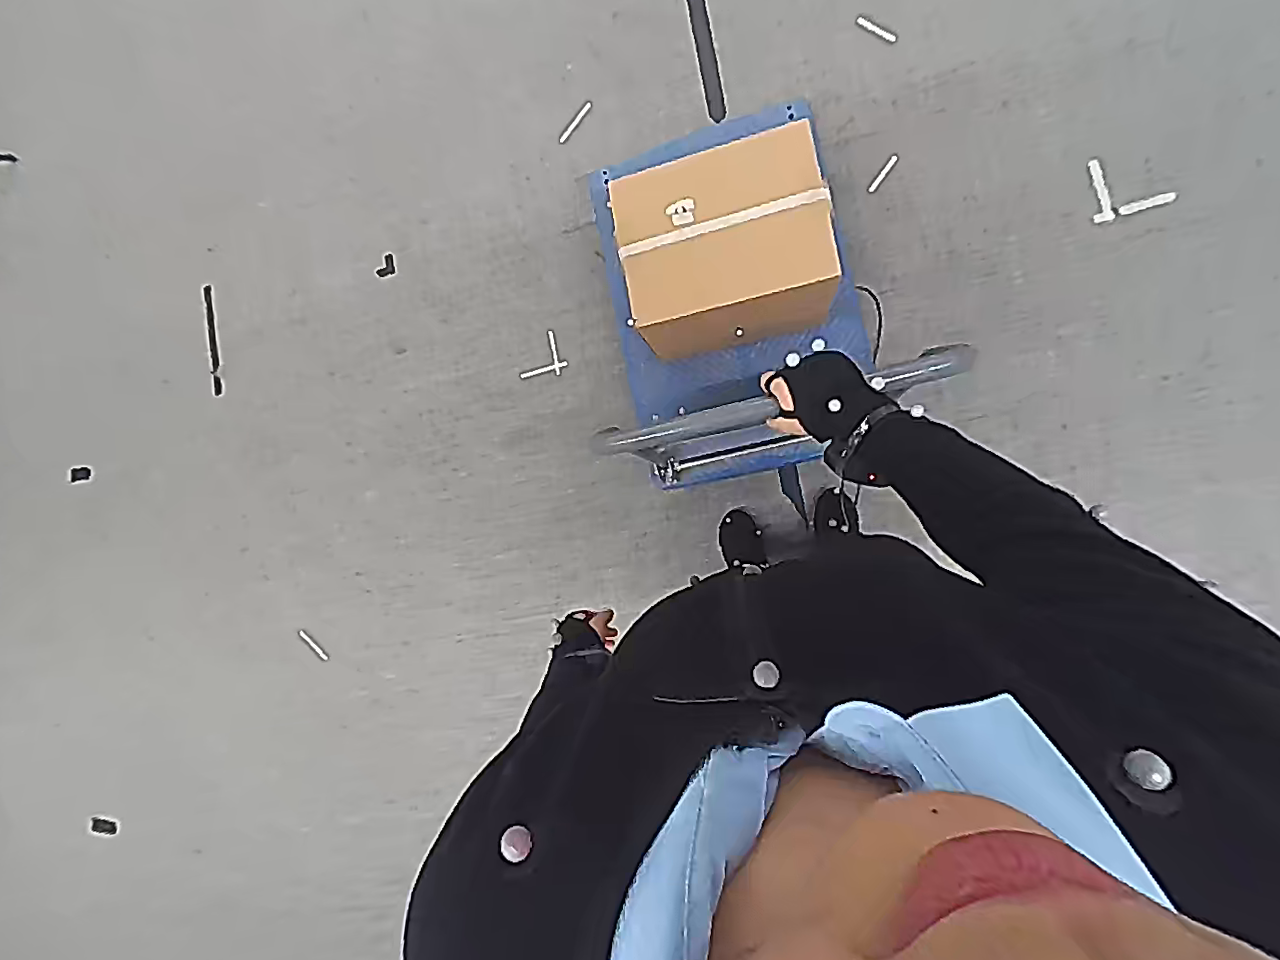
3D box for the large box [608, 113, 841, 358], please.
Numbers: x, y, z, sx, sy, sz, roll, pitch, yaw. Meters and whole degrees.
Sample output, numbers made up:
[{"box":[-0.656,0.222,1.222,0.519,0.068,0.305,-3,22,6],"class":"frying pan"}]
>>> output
[{"box":[0.187,-0.493,1.183,0.408,0.320,0.320,-12,85,13],"class":"large box"}]
